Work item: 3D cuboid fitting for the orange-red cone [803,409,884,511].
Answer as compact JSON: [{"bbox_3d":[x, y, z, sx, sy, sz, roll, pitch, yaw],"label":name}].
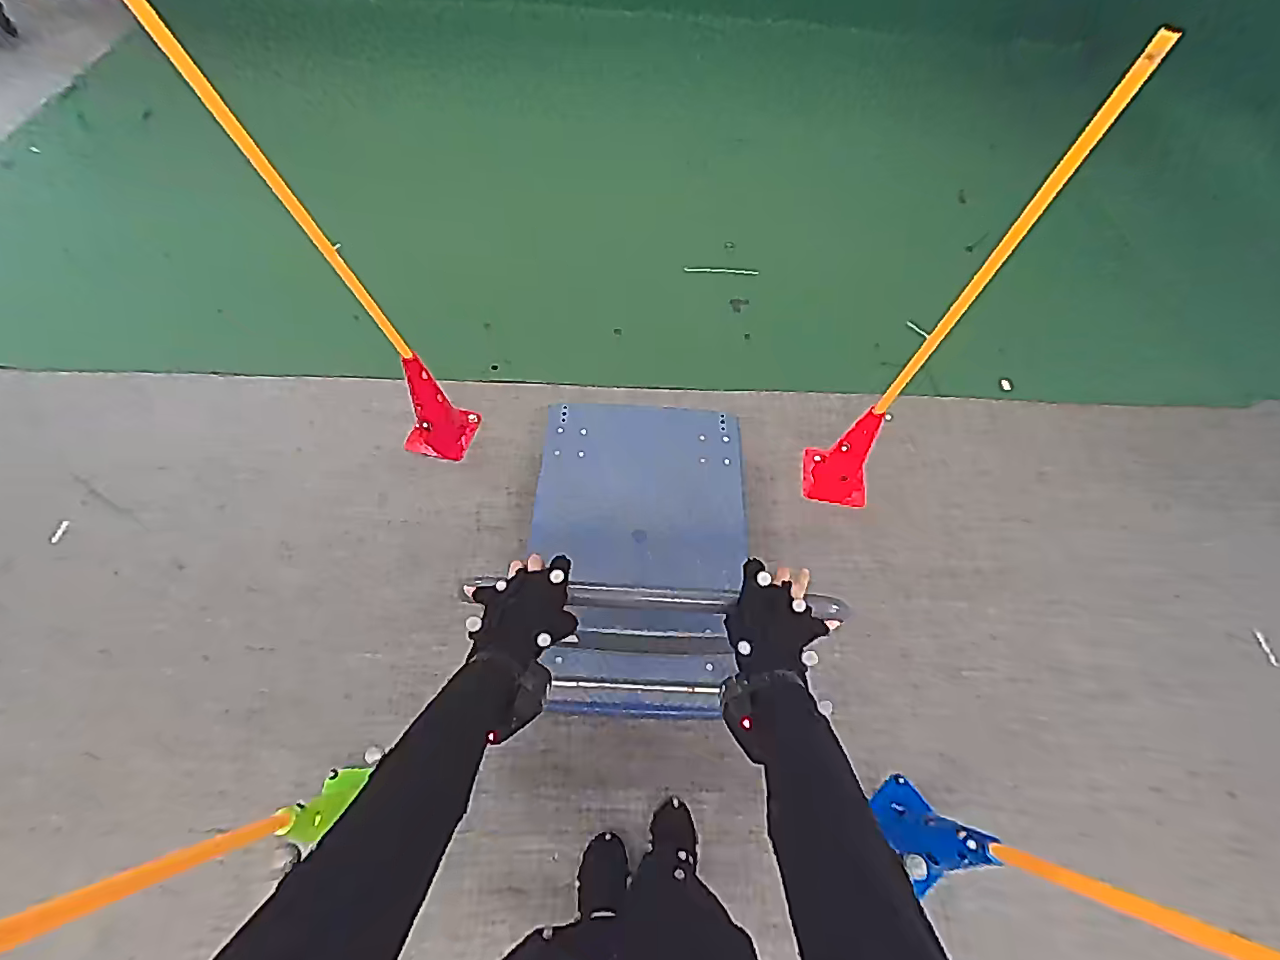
[{"bbox_3d":[0.639,-0.086,1.614,0.198,0.360,0.199,11,59,5],"label":"orange-red cone"}]
